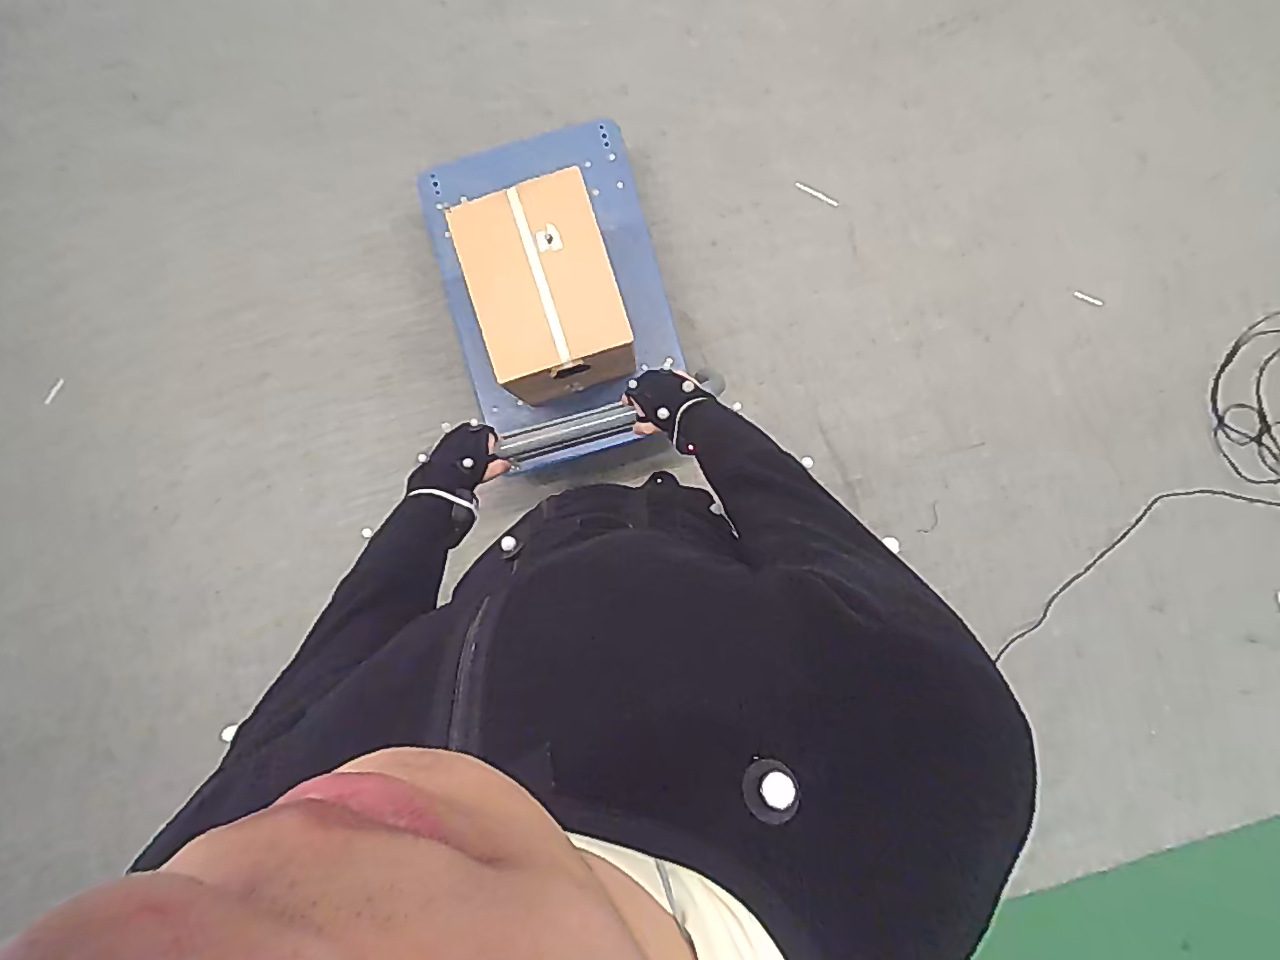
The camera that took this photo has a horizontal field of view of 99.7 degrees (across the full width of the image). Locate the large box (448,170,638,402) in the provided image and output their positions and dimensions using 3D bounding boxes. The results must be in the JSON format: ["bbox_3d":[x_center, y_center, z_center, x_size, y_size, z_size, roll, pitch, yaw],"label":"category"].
[{"bbox_3d":[-0.213,-0.445,1.333,0.320,0.320,0.408,-18,89,1],"label":"large box"}]
